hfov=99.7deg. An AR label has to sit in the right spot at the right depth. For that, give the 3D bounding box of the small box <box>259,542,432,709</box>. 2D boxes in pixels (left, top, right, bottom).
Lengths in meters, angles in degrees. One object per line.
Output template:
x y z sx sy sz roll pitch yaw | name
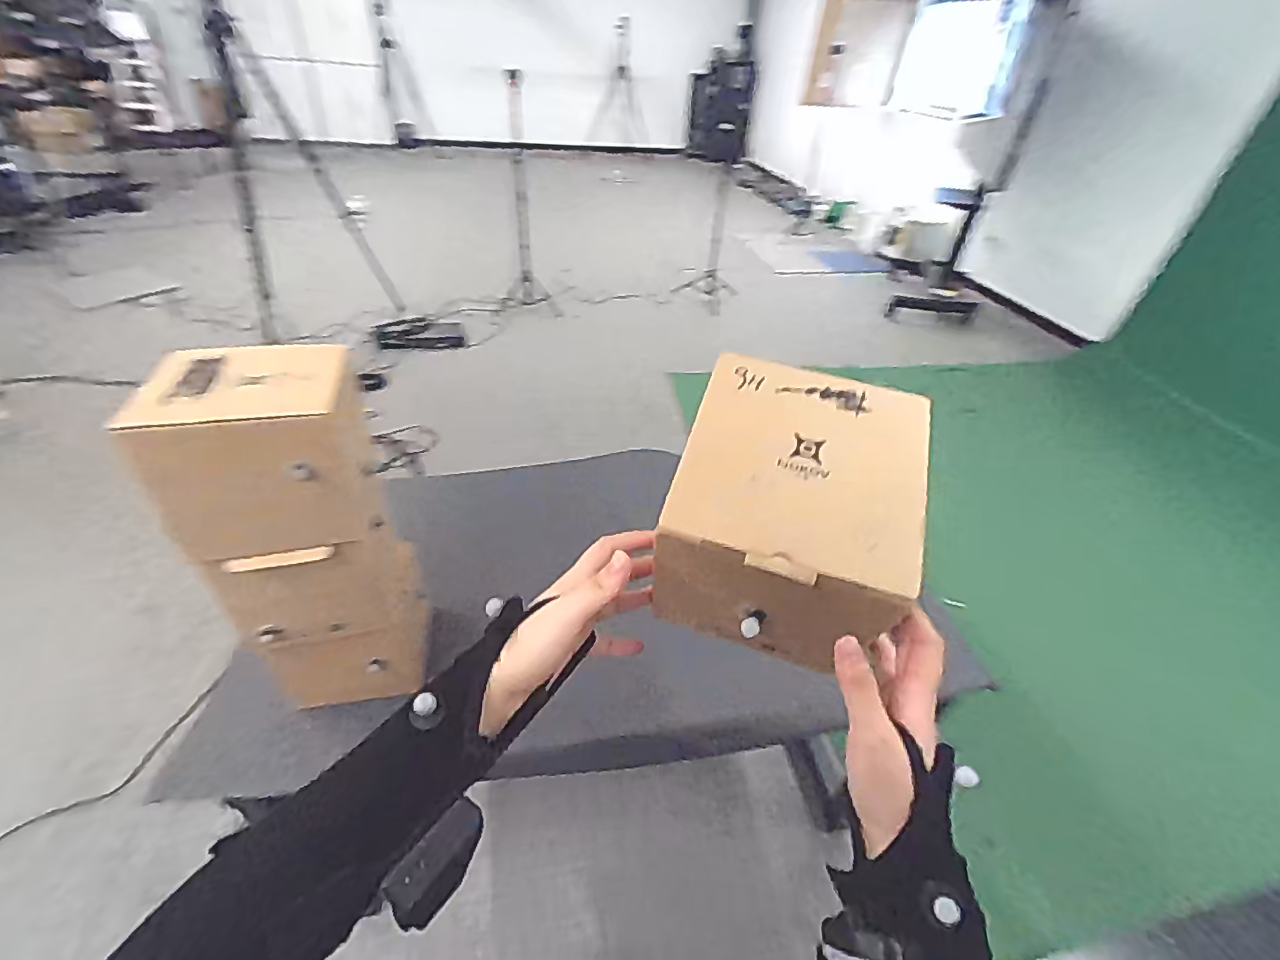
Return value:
-0.423 0.218 0.816 0.179 0.176 0.168 -6 38 -11 | small box

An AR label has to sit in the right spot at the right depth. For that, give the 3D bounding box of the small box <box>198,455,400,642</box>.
-0.423 0.091 0.710 0.168 0.176 0.179 -7 38 -14 | small box
